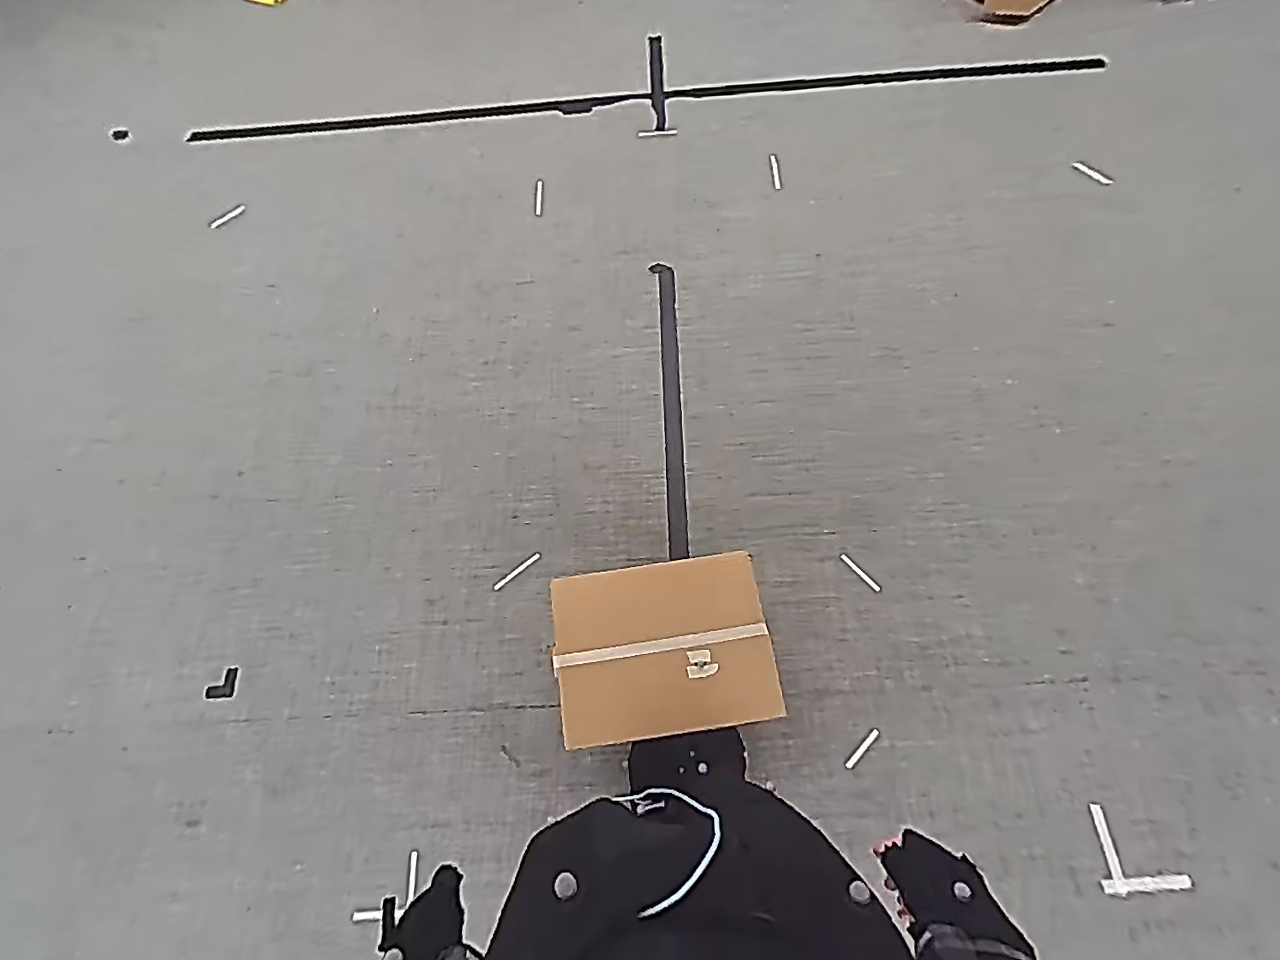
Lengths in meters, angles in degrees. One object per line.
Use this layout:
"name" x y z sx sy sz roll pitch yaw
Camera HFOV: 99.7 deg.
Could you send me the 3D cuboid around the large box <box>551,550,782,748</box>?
"large box" 0.044 0.364 1.161 0.408 0.320 0.320 -8 69 -1
